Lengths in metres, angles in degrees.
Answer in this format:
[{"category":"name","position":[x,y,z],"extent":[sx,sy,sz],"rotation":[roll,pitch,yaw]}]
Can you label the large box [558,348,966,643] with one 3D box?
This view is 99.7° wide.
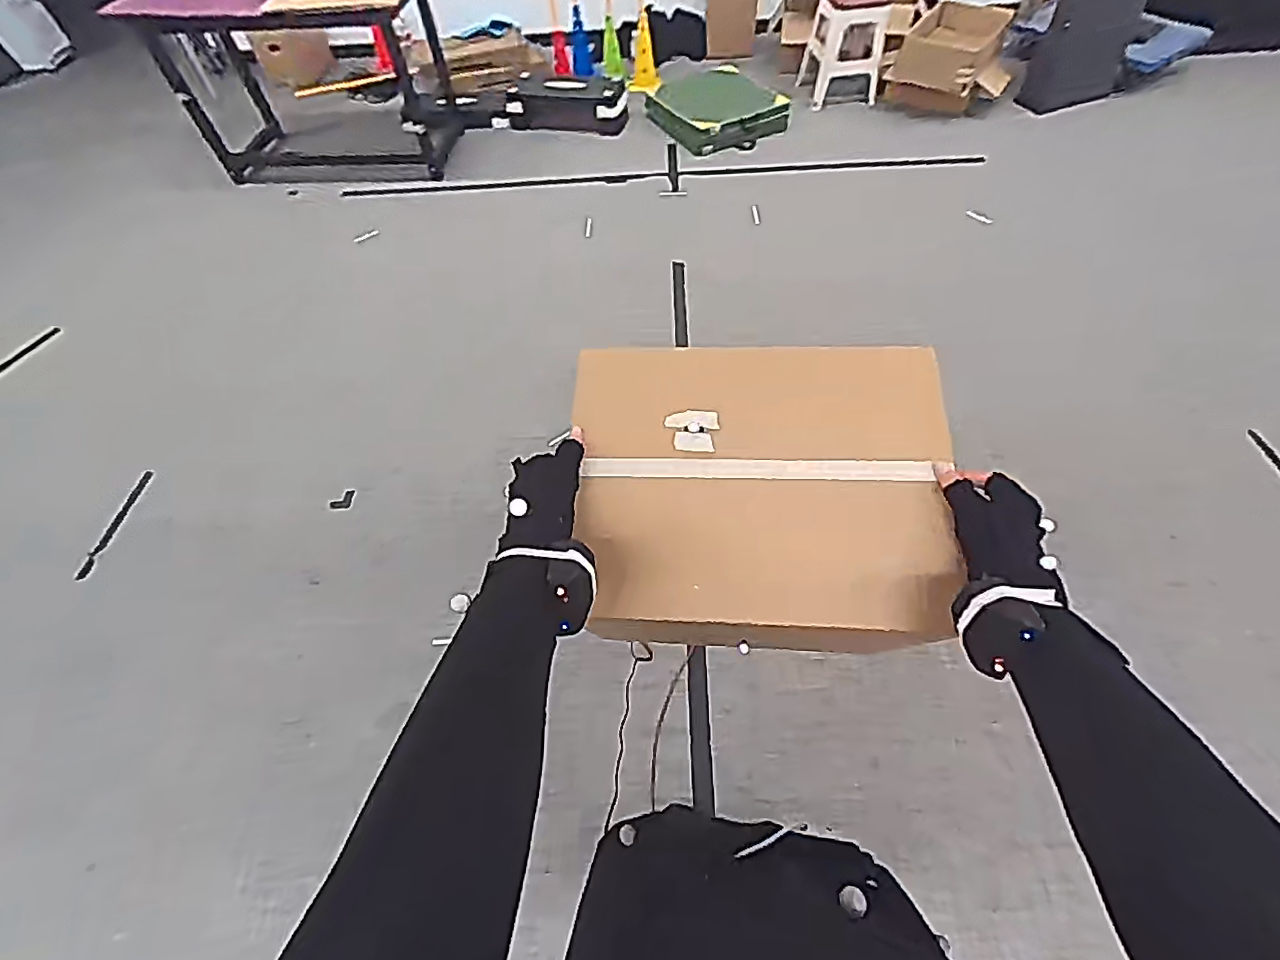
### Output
[{"category":"large box","position":[0.136,0.046,0.721],"extent":[0.408,0.320,0.320],"rotation":[1,68,7]}]
